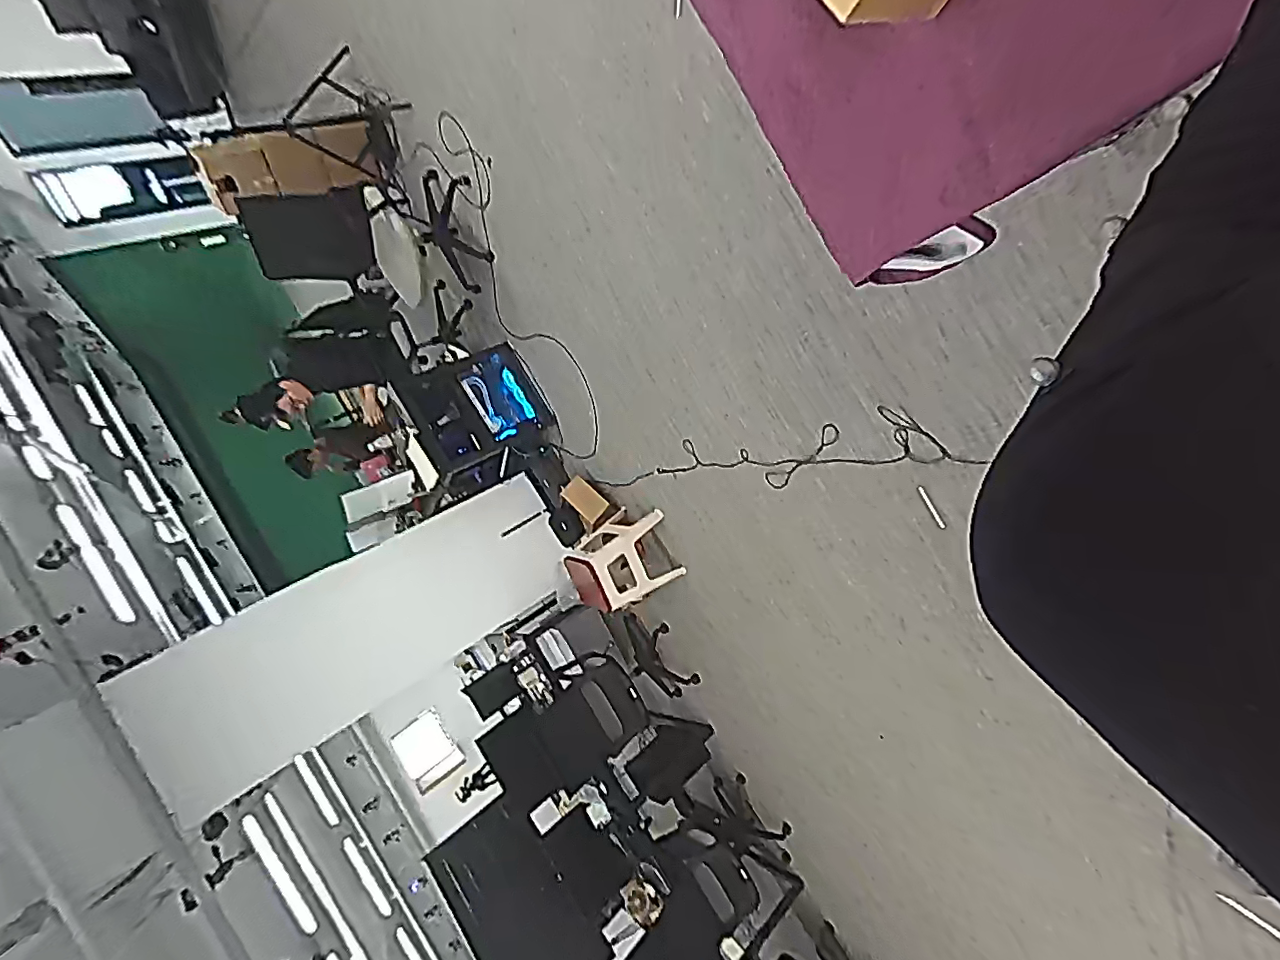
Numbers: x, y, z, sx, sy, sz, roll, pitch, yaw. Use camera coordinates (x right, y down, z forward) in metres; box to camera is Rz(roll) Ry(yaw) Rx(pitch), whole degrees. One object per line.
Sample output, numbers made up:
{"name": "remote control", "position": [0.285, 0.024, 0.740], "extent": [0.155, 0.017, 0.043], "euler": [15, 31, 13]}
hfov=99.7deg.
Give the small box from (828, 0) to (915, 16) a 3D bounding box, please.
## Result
{"name": "small box", "position": [0.201, -0.510, 0.414], "extent": [0.179, 0.176, 0.168], "euler": [55, 150, 7]}
